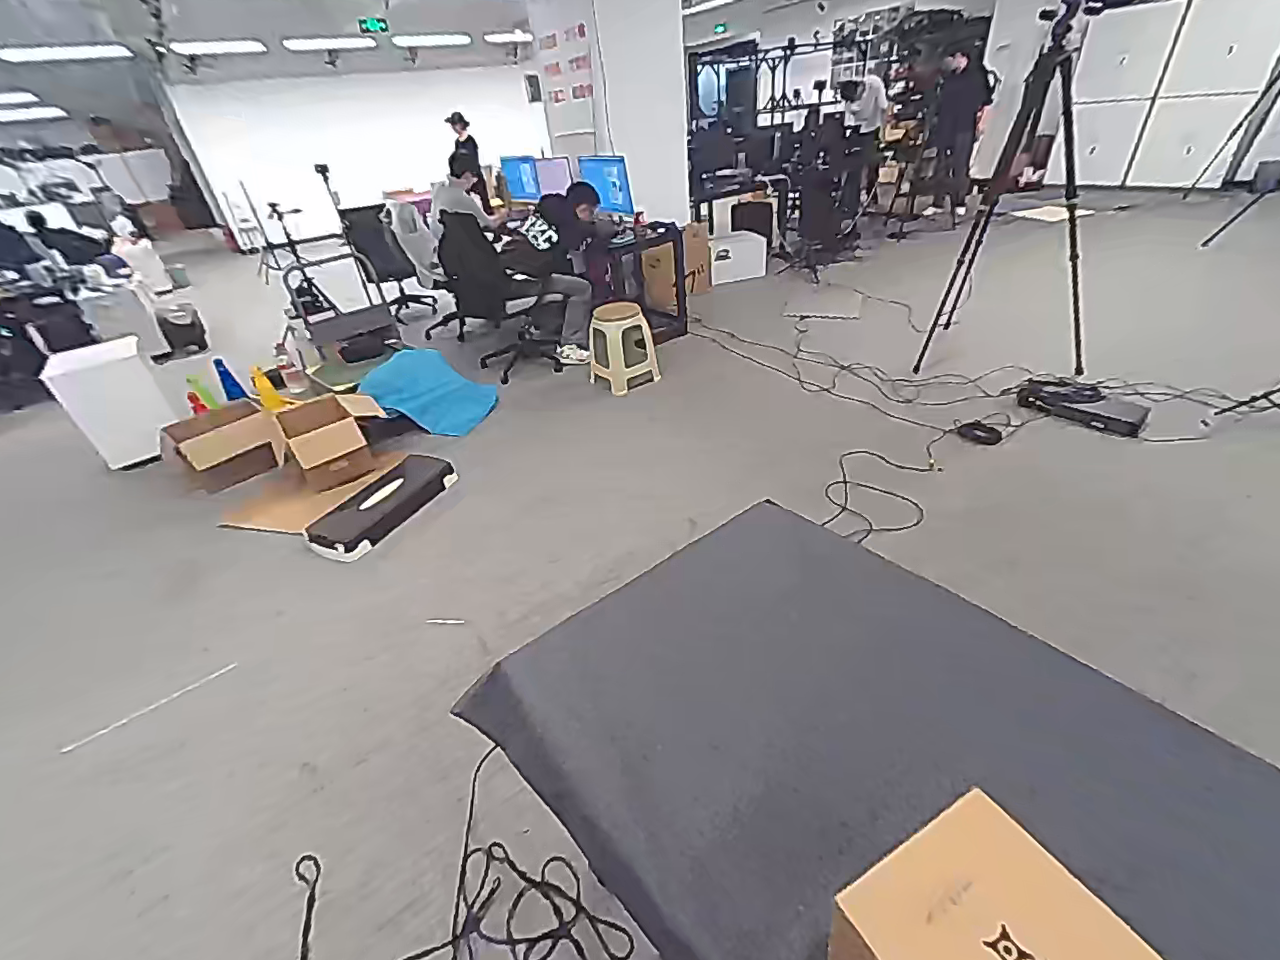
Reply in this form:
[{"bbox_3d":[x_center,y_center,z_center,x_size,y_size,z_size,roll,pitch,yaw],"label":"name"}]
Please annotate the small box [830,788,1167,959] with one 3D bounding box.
[{"bbox_3d":[0.272,0.398,0.422,0.168,0.176,0.179,-21,33,-19],"label":"small box"}]
